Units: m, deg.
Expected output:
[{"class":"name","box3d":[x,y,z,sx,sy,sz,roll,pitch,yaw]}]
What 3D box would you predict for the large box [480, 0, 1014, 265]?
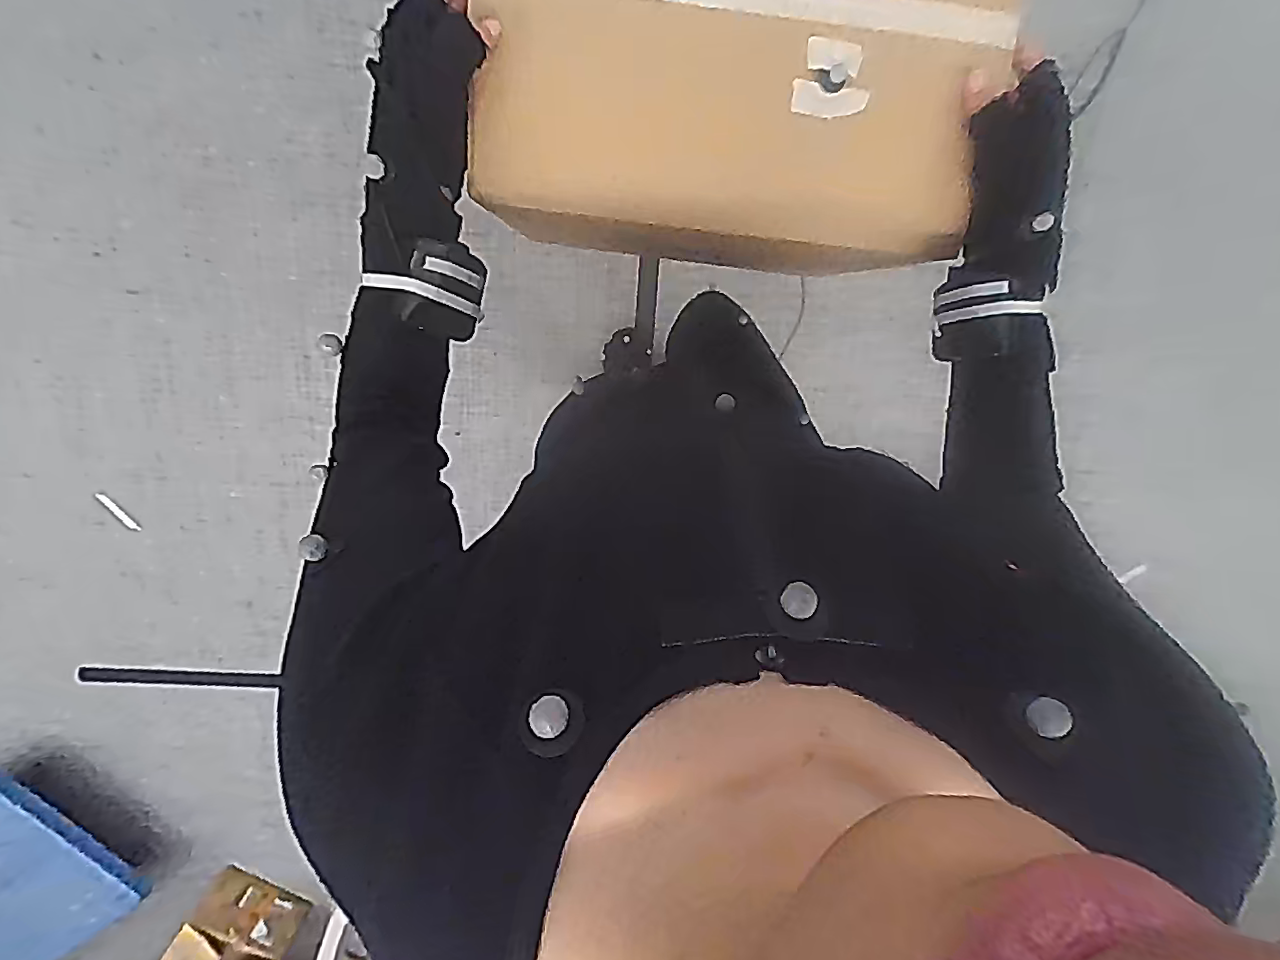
[{"class":"large box","box3d":[0.072,-0.405,0.538,0.408,0.320,0.320,4,109,-5]}]
